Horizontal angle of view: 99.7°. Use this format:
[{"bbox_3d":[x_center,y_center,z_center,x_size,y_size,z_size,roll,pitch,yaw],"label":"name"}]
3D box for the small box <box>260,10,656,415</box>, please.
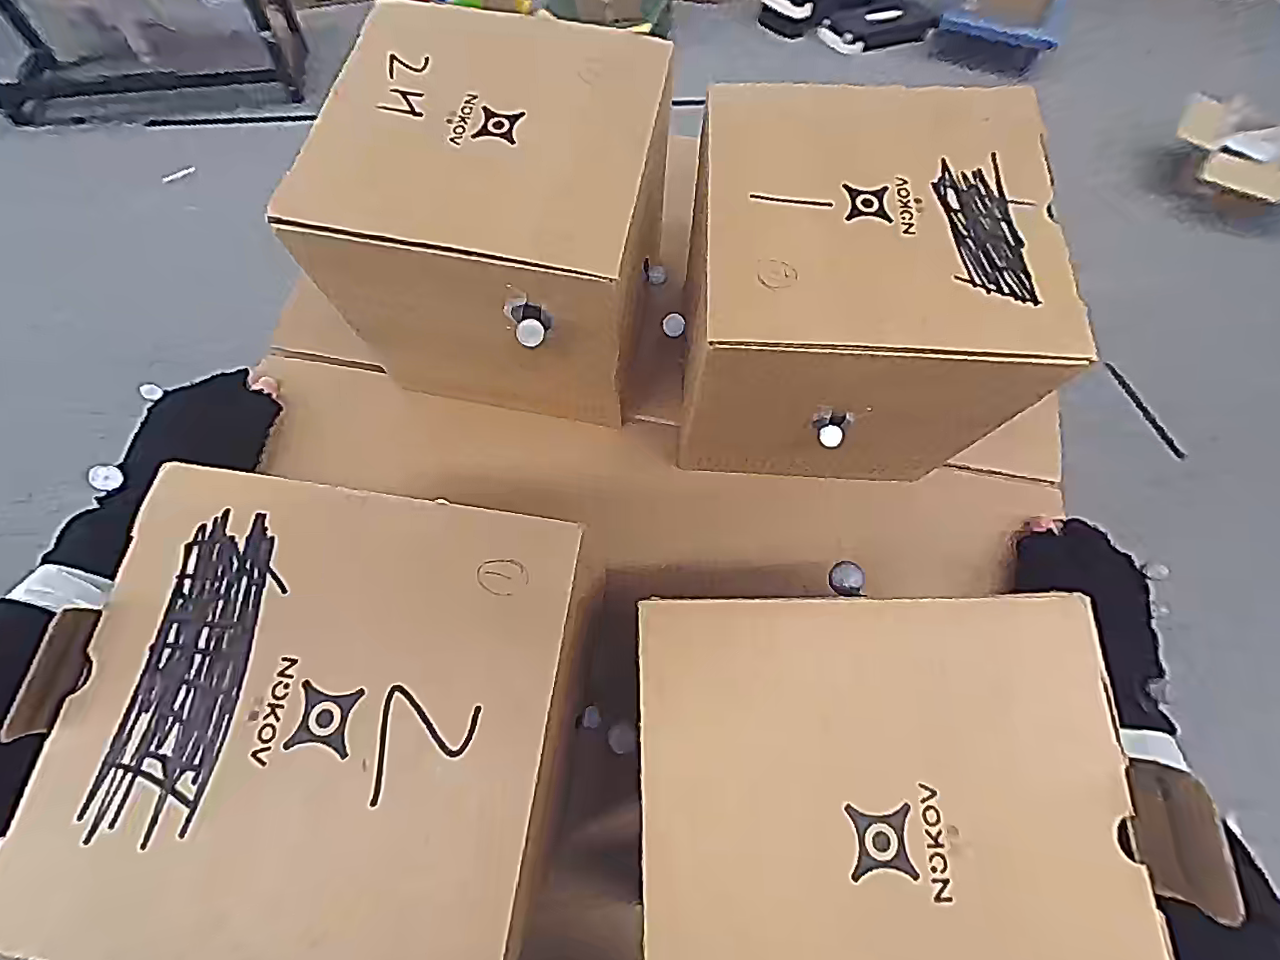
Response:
[{"bbox_3d":[-0.092,-0.160,0.367,0.179,0.176,0.168,11,71,3],"label":"small box"}]
